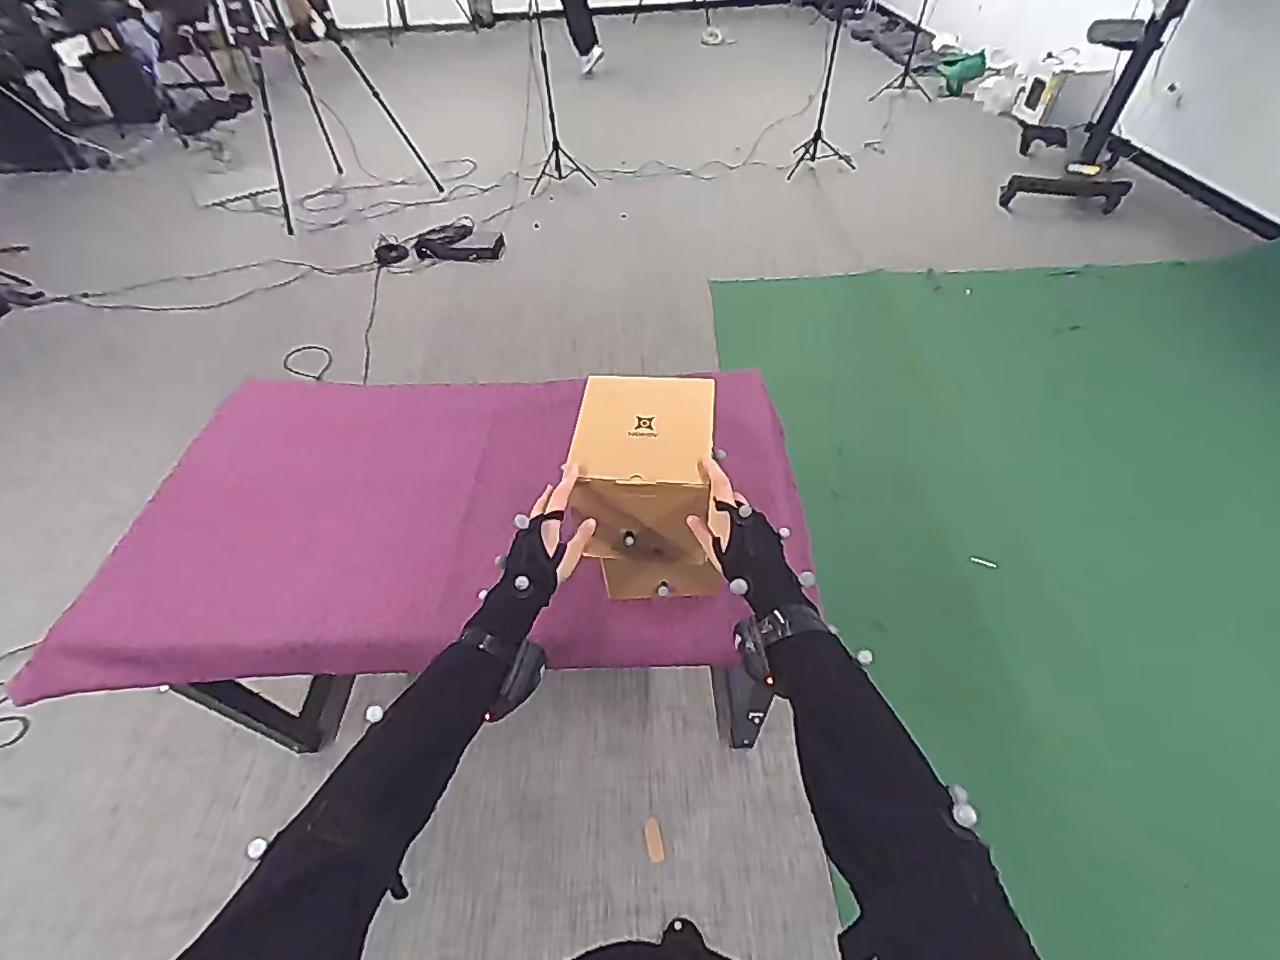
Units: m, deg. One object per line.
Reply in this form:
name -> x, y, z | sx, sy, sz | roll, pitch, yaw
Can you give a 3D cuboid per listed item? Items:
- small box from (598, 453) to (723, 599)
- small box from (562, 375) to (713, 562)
small box -> 0.027, 0.073, 0.845 | 0.179, 0.176, 0.168 | -3, 49, 1
small box -> 0.006, -0.015, 0.707 | 0.168, 0.176, 0.179 | 3, 52, 7
